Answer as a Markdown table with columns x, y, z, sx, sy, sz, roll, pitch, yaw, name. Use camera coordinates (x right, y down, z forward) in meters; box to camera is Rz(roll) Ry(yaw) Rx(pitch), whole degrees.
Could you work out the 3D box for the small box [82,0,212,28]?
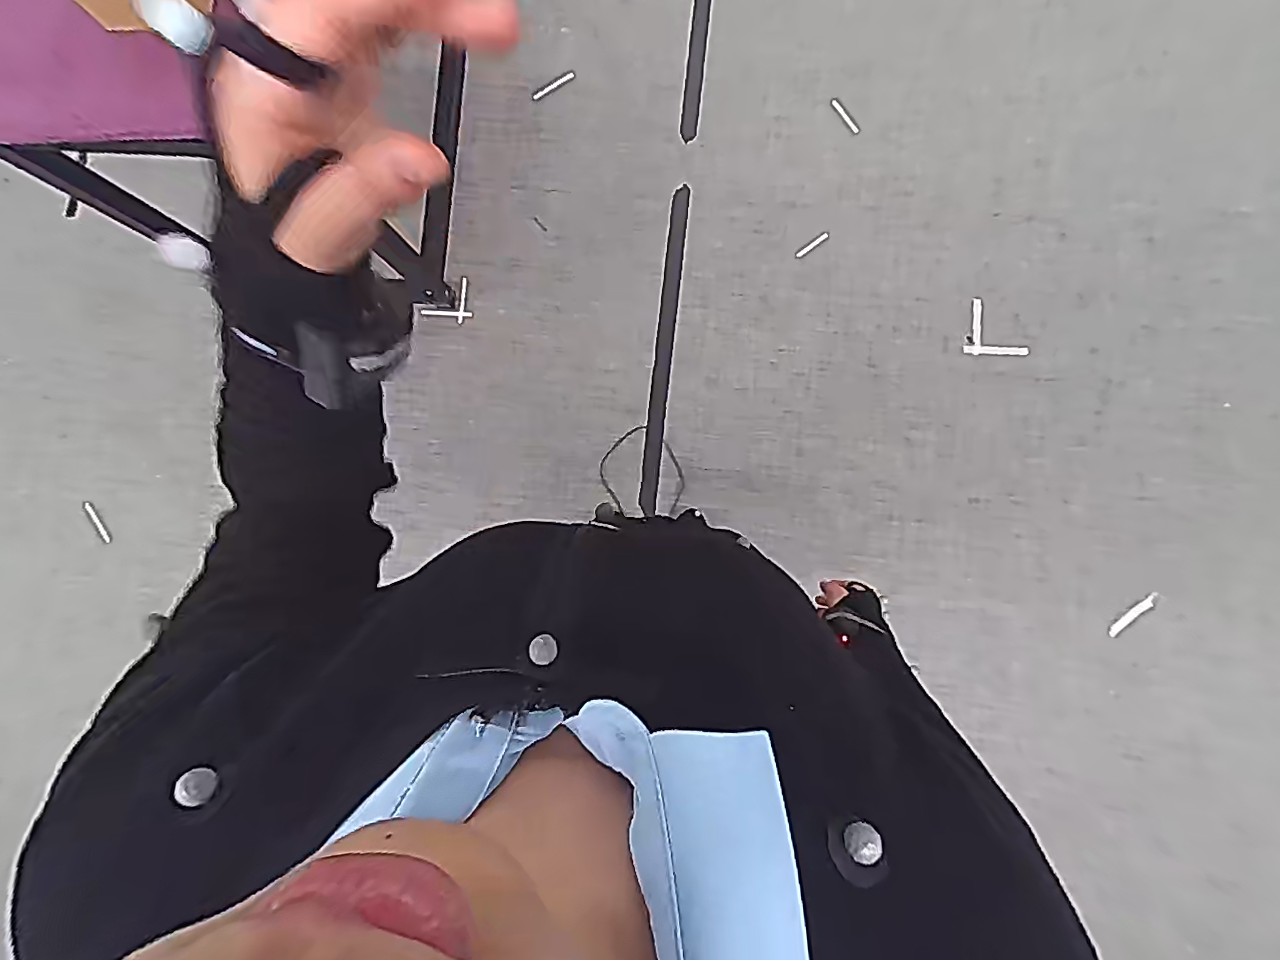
| x | y | z | sx | sy | sz | roll | pitch | yaw | name |
| --- | --- | --- | --- | --- | --- | --- | --- | --- | --- |
| -0.768 | -0.806 | 0.787 | 0.179 | 0.176 | 0.168 | 2 | 85 | 2 | small box |
